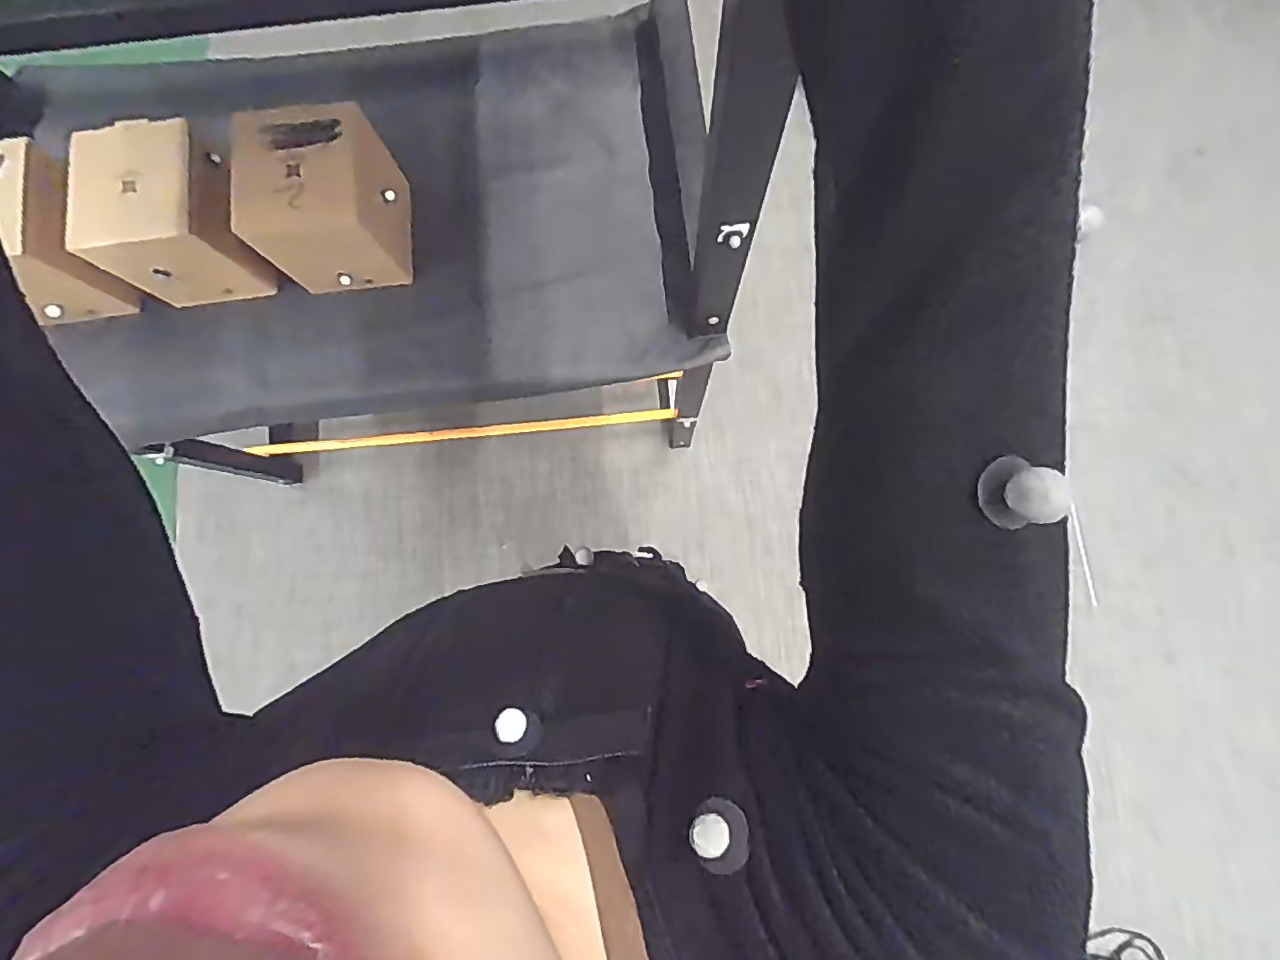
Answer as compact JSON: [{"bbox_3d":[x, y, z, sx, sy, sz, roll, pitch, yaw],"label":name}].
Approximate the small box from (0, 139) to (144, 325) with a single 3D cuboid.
[{"bbox_3d":[-0.880,-0.352,0.792,0.168,0.176,0.179,-8,81,1],"label":"small box"}]
